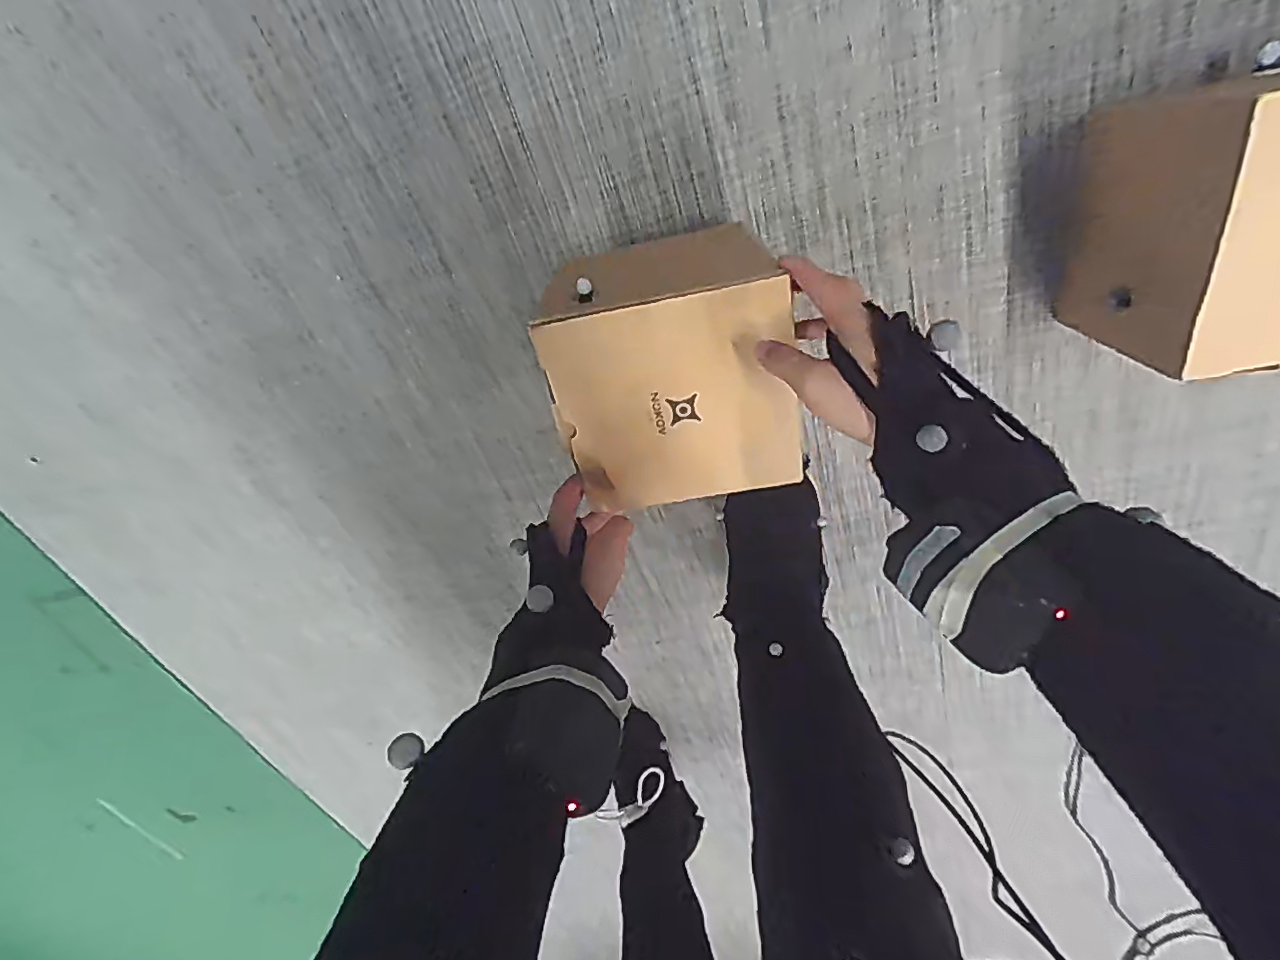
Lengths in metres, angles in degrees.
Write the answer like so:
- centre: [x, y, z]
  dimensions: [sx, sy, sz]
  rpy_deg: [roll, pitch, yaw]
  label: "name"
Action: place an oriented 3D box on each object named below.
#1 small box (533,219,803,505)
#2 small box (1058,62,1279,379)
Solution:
- centre: [0.029, -0.104, 0.456]
  dimensions: [0.179, 0.176, 0.168]
  rpy_deg: [-9, 125, 9]
  label: "small box"
- centre: [0.448, -0.197, 0.396]
  dimensions: [0.168, 0.176, 0.179]
  rpy_deg: [-10, 119, 11]
  label: "small box"
